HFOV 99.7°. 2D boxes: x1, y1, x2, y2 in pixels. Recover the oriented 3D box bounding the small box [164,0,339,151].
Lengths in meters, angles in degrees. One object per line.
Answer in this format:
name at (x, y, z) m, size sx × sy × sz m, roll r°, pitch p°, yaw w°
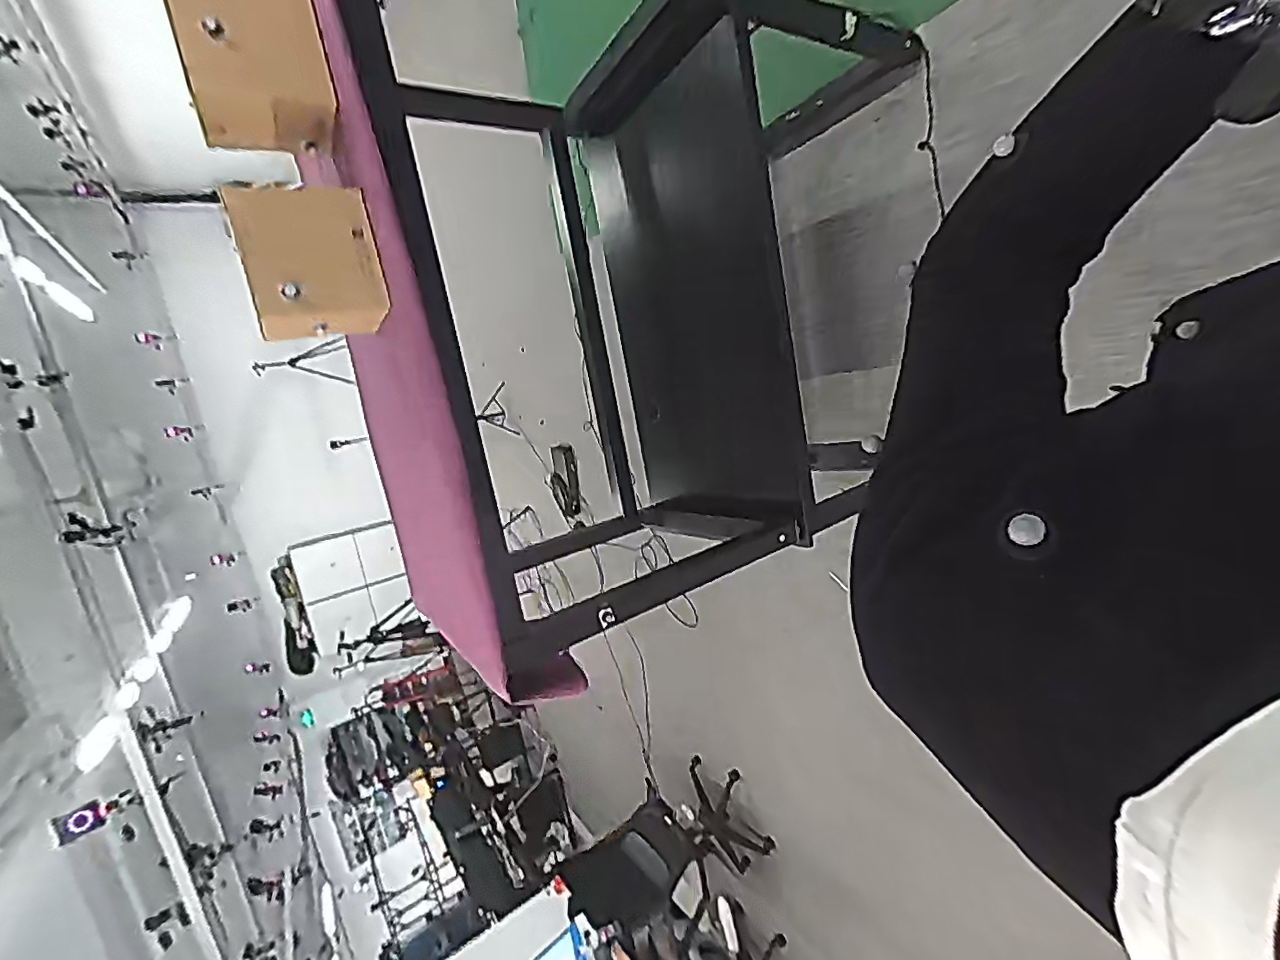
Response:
small box at (-0.540, -0.590, 0.760) m, size 0.168 × 0.176 × 0.179 m, roll 4°, pitch 108°, yaw 57°
